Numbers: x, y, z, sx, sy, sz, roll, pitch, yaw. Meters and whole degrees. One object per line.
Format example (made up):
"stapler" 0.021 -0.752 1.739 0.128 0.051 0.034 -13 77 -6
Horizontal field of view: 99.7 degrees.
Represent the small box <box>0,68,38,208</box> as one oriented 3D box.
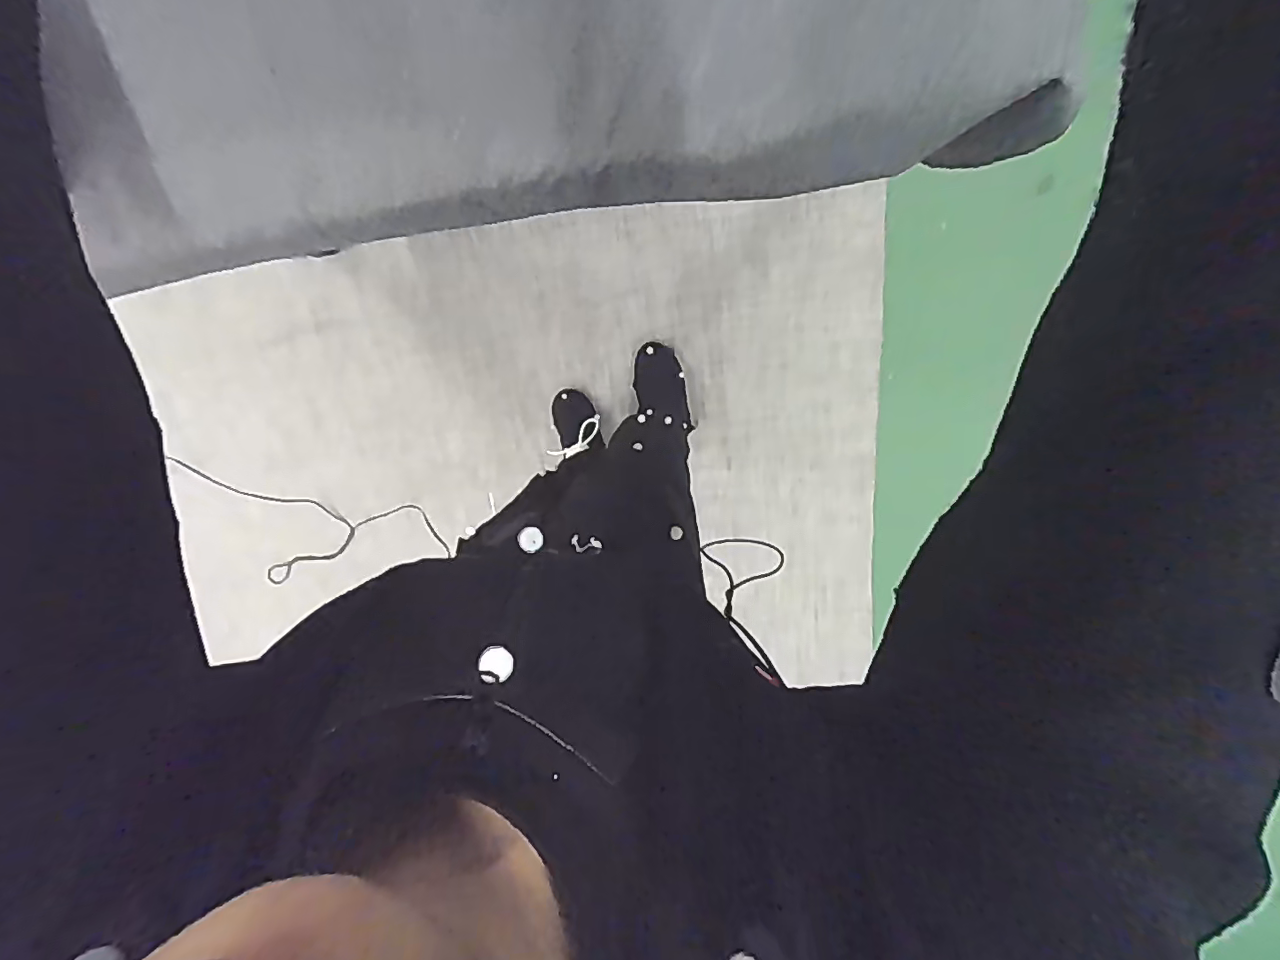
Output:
"small box" -0.668 -0.318 0.440 0.179 0.176 0.168 -3 112 9
